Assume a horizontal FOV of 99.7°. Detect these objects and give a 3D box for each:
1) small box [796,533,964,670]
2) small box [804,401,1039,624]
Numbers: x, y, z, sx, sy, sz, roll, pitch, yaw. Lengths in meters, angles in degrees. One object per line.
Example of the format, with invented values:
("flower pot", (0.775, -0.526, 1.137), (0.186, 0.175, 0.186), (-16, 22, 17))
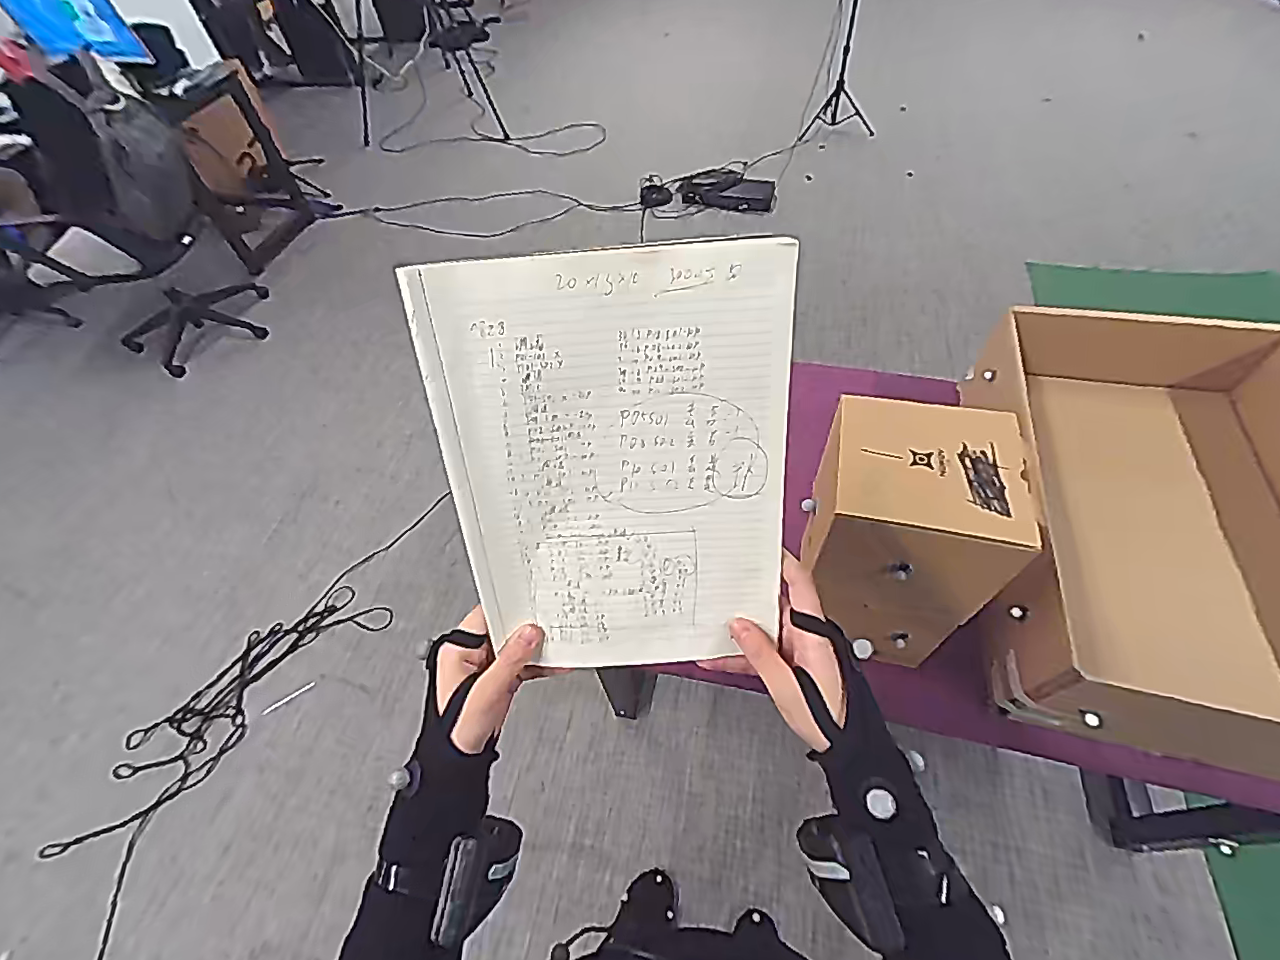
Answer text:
("small box", (0.311, 0.133, 0.727), (0.168, 0.176, 0.179), (10, 53, 12))
("small box", (0.290, 0.040, 0.594), (0.179, 0.176, 0.168), (10, 53, 13))
